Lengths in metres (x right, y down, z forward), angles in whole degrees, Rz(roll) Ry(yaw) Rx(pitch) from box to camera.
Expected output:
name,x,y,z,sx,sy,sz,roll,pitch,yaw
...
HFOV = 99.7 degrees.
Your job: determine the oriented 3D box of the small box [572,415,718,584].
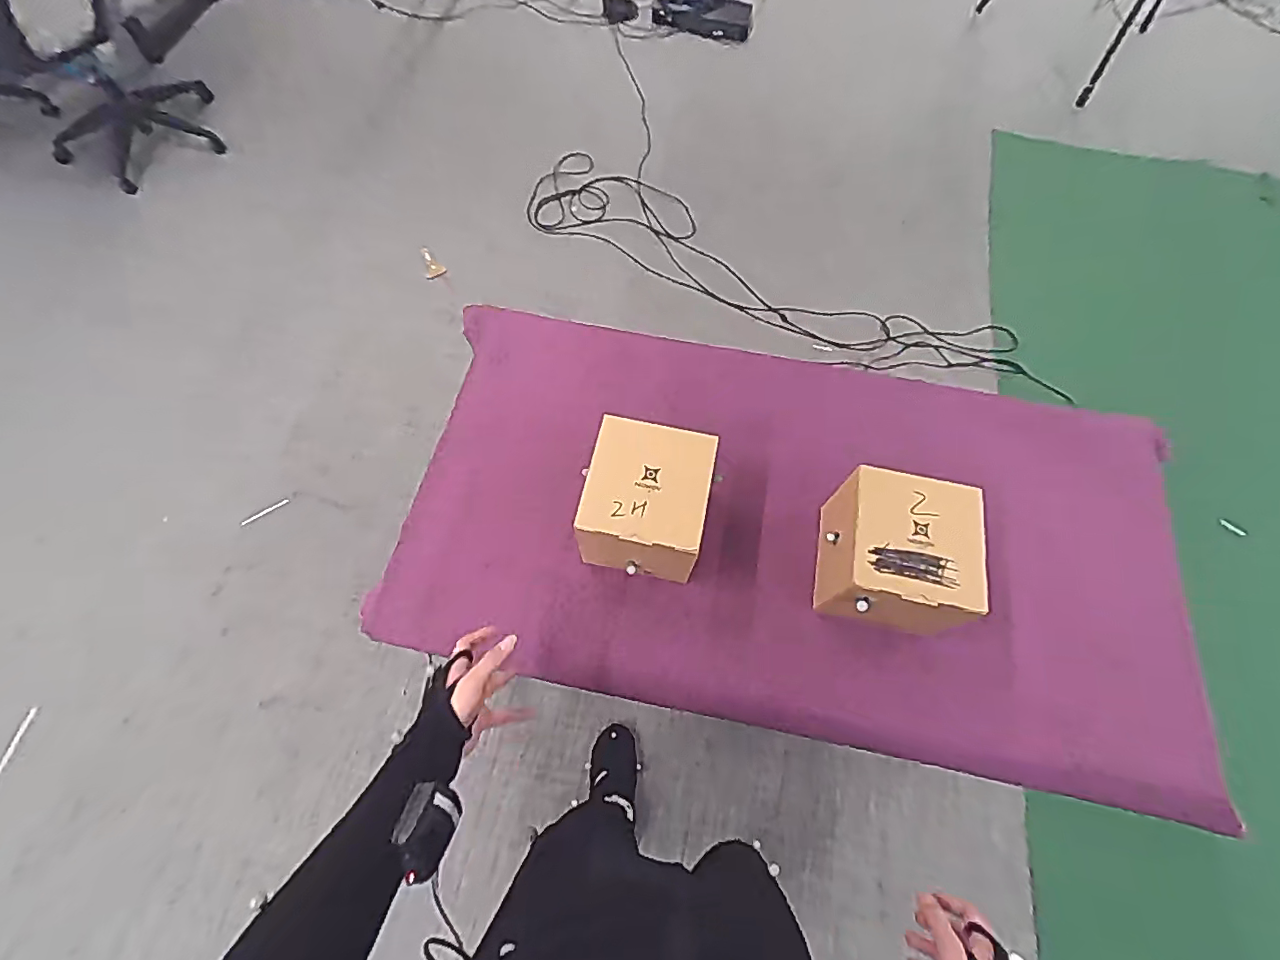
name,x,y,z,sx,sy,sz,roll,pitch,yaw
small box,0.008,0.035,0.786,0.168,0.176,0.179,12,67,4
